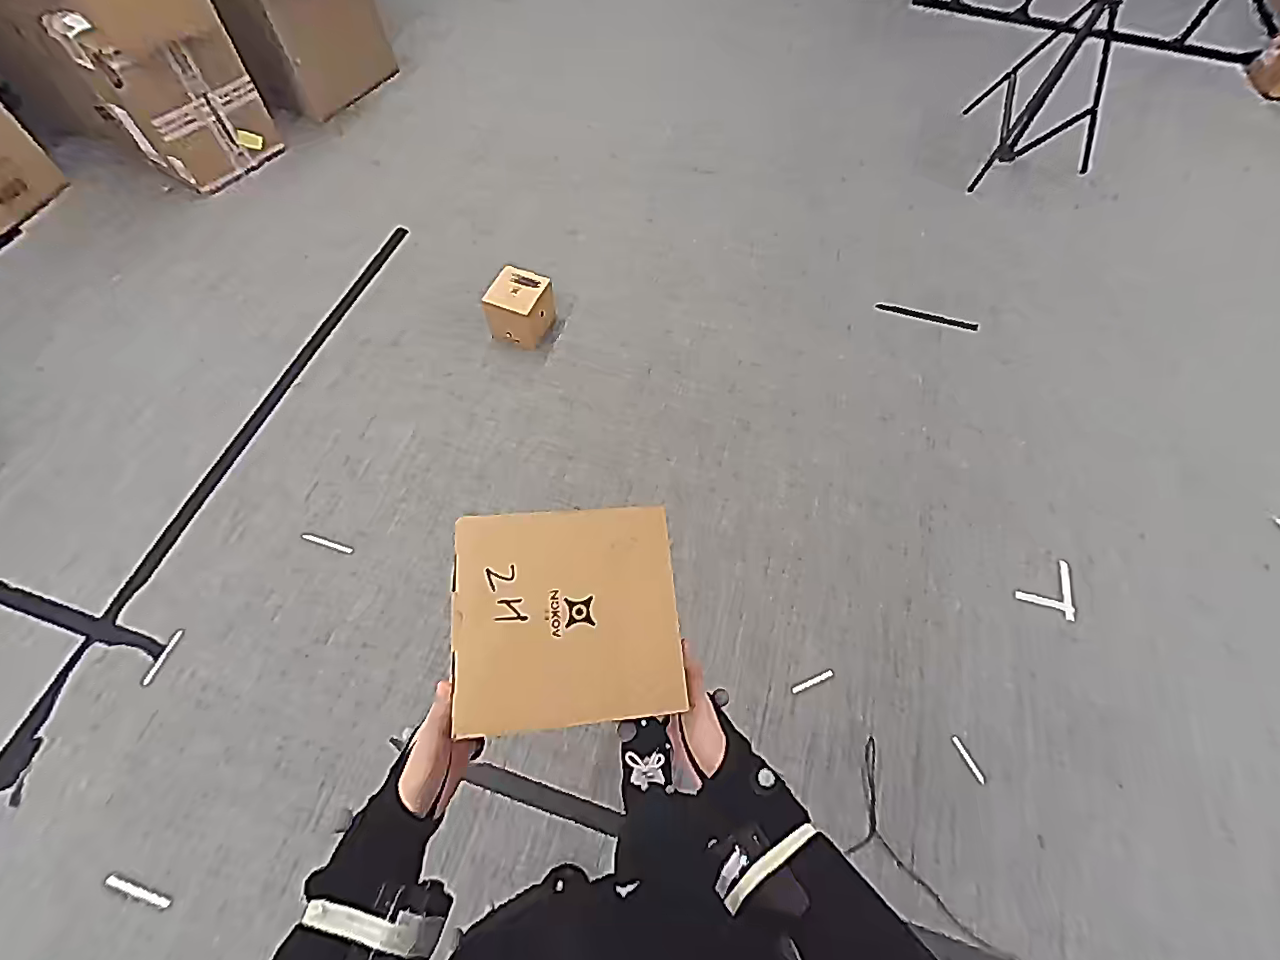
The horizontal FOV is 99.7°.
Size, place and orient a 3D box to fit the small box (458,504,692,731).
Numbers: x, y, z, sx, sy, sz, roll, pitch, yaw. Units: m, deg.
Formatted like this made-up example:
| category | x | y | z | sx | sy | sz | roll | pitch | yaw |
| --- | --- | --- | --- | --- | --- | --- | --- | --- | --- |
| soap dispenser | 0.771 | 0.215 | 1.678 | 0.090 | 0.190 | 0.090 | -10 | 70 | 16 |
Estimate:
| category | x | y | z | sx | sy | sz | roll | pitch | yaw |
| --- | --- | --- | --- | --- | --- | --- | --- | --- | --- |
| small box | -0.064 | 0.126 | 0.499 | 0.179 | 0.176 | 0.168 | -3 | 70 | -10 |
